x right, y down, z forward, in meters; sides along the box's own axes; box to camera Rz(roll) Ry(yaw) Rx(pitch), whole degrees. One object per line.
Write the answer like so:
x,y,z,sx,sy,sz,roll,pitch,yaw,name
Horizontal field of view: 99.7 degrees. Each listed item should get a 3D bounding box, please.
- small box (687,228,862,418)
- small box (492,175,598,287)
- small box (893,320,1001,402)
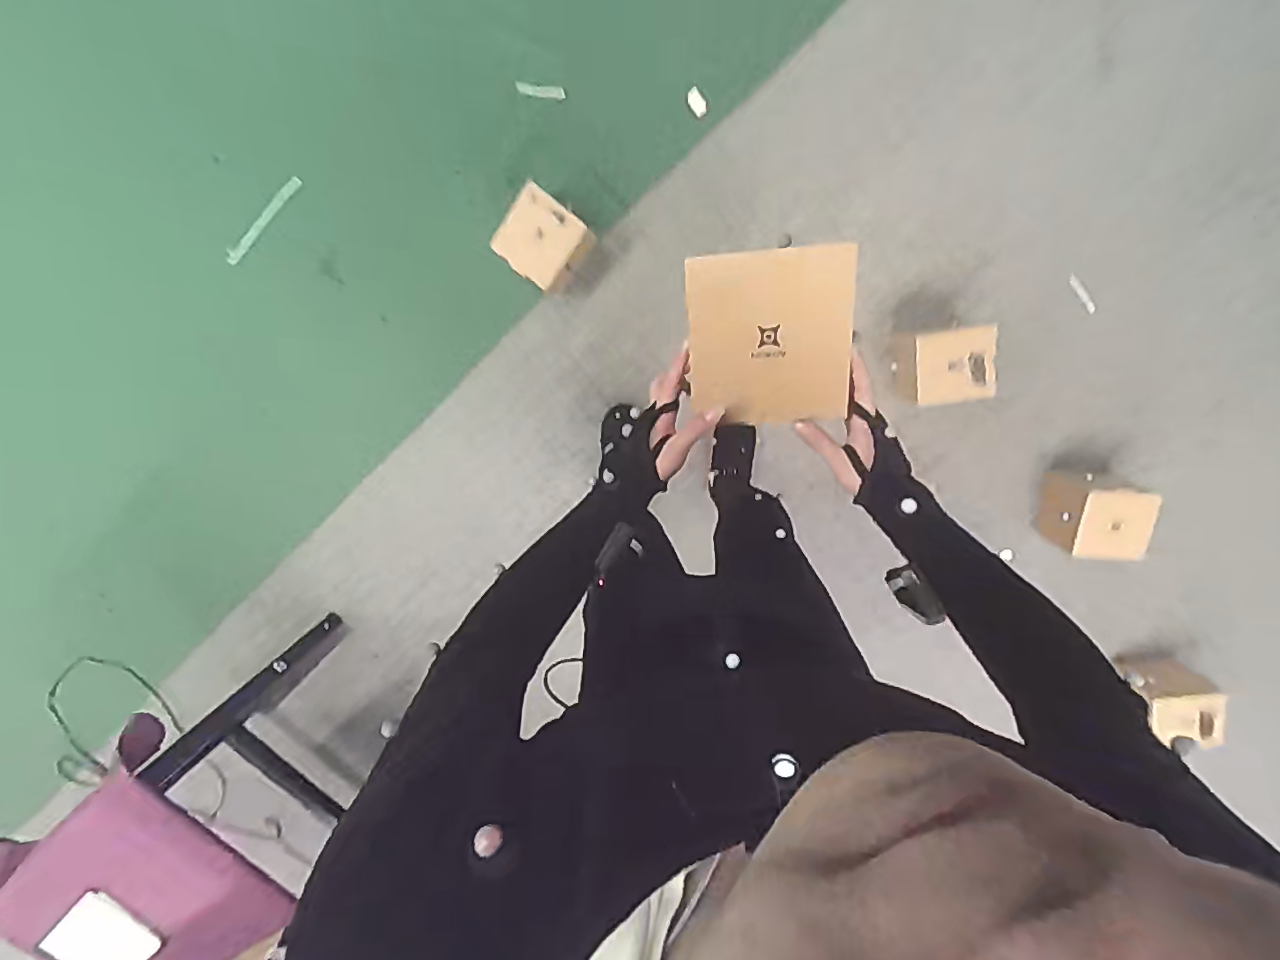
0.139,-0.180,0.610,0.168,0.176,0.179,-2,114,9,small box
-0.221,-0.589,1.310,0.168,0.176,0.179,38,107,-6,small box
0.731,-0.291,1.303,0.179,0.176,0.168,-7,105,8,small box
